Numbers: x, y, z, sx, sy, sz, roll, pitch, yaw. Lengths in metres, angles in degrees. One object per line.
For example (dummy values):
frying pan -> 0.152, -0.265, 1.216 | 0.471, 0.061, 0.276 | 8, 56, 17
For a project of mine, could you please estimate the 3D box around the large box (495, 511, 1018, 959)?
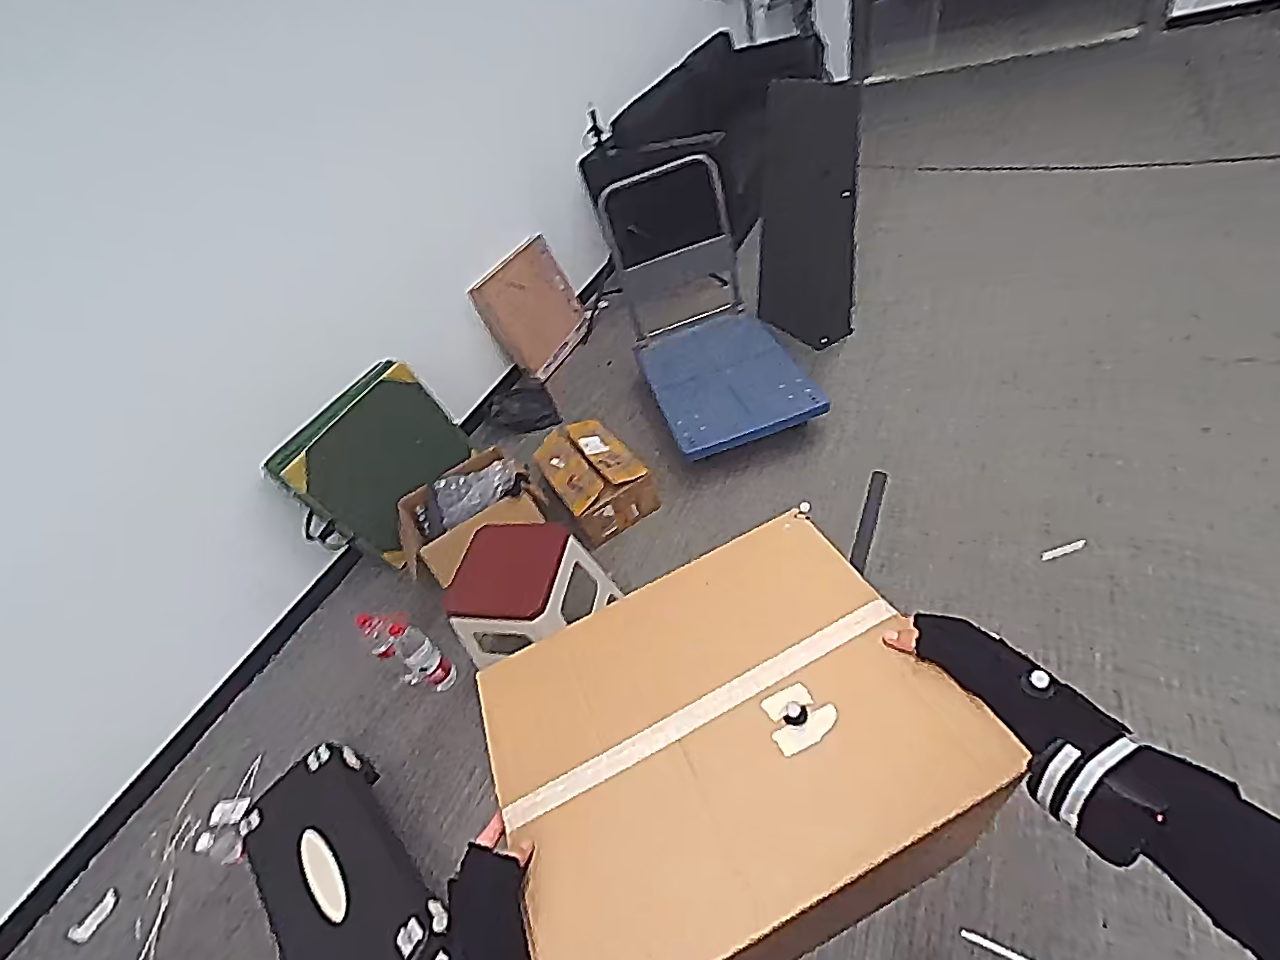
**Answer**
large box -> 0.106, 0.313, 0.611 | 0.408, 0.320, 0.320 | -26, 44, -6
